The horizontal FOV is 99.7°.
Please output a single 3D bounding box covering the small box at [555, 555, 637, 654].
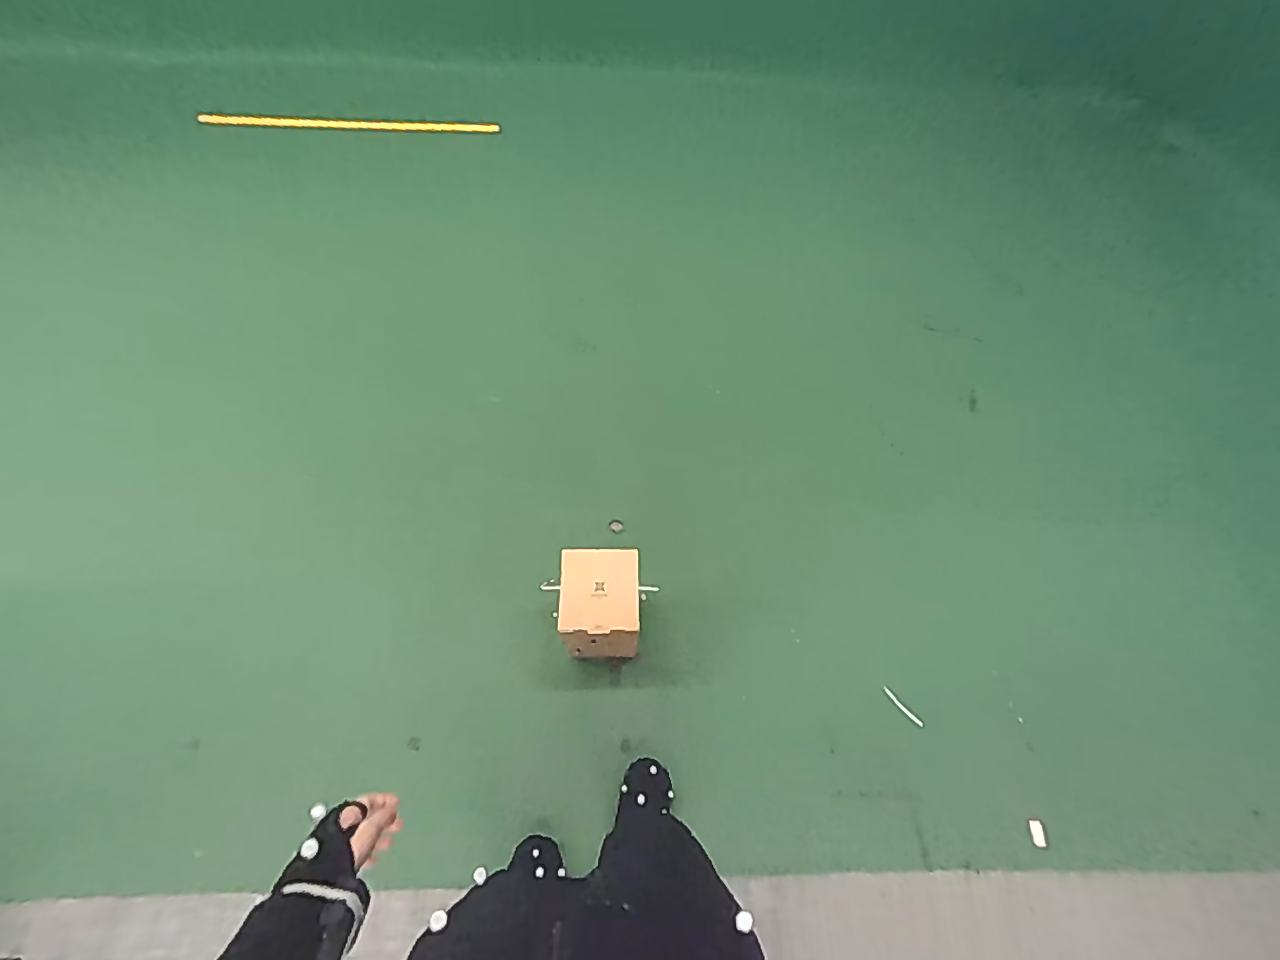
[{"bbox_3d":[-0.094,0.275,1.184,0.168,0.176,0.179,1,62,-4],"label":"small box"}]
